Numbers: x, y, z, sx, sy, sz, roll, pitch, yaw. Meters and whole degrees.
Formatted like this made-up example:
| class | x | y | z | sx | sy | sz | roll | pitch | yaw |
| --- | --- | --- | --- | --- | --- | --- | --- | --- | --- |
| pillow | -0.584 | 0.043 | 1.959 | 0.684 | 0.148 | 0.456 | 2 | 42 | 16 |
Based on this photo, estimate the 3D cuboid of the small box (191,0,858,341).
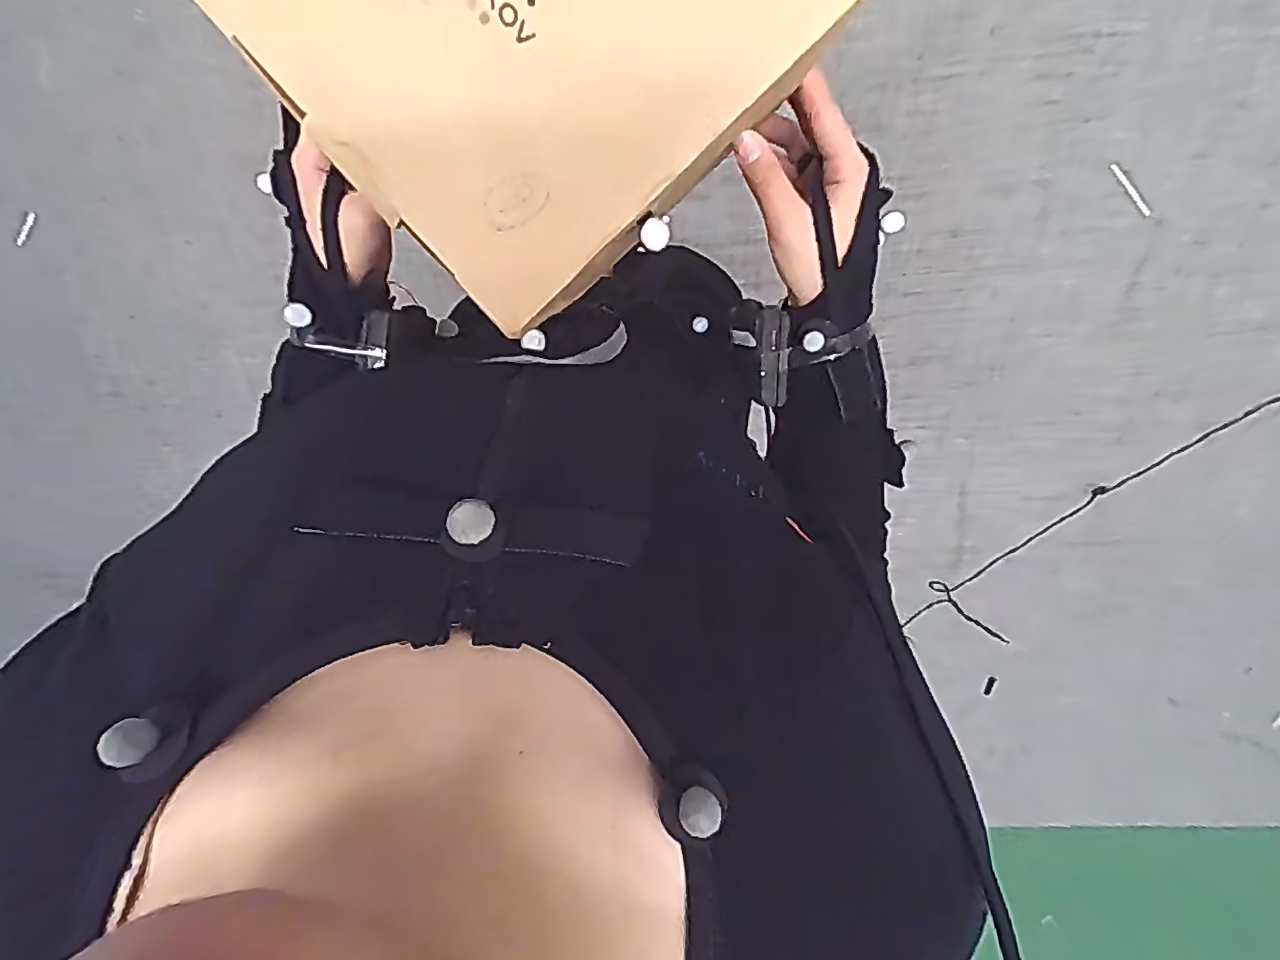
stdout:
| class | x | y | z | sx | sy | sz | roll | pitch | yaw |
| --- | --- | --- | --- | --- | --- | --- | --- | --- | --- |
| small box | -0.037 | -0.193 | 0.254 | 0.179 | 0.176 | 0.168 | -38 | 106 | 17 |
